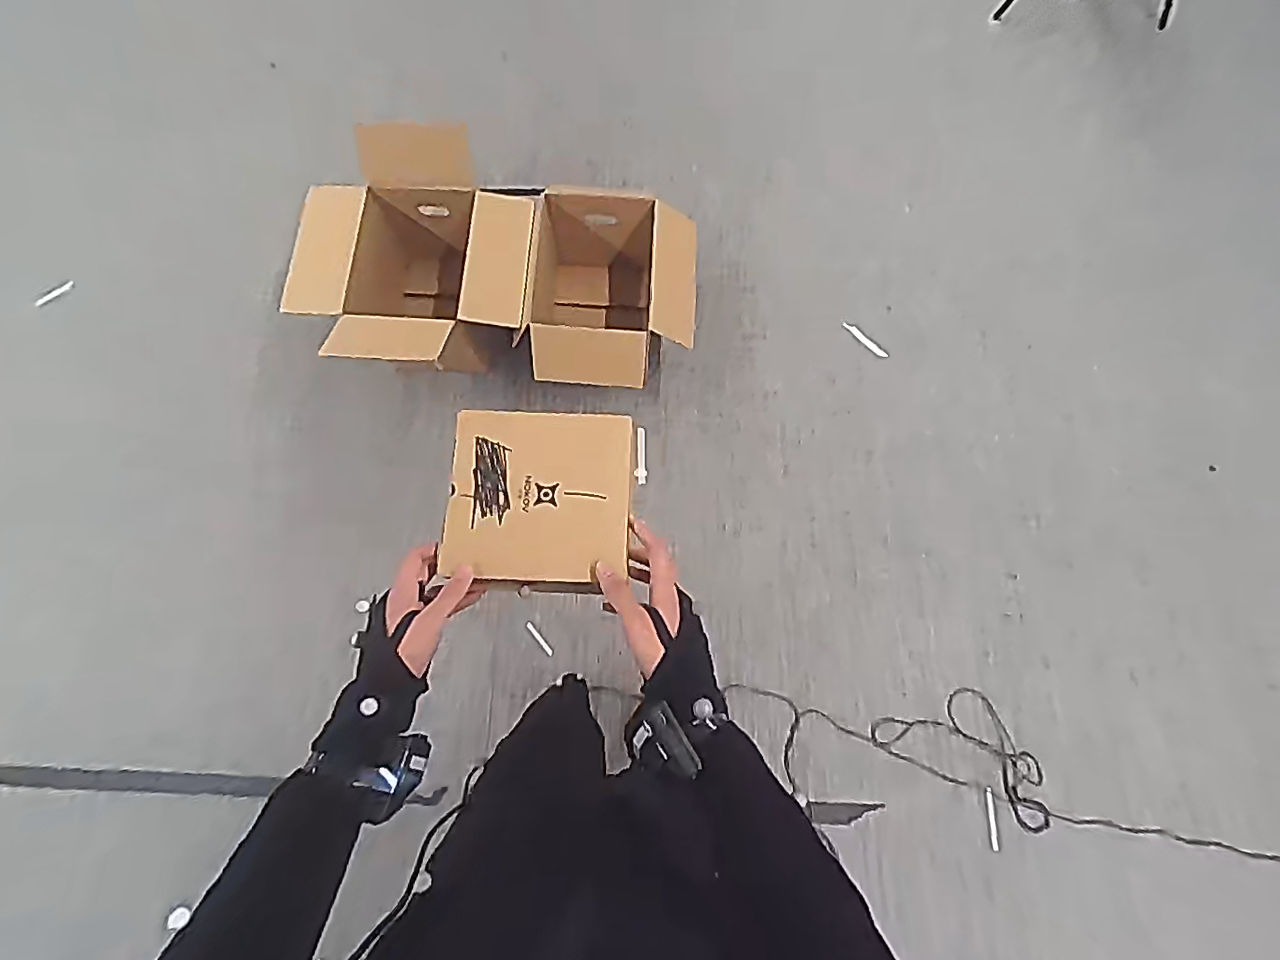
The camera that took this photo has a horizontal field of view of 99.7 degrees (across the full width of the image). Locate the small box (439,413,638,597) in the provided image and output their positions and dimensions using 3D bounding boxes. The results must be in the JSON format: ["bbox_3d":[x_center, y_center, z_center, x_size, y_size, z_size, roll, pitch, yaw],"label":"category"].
[{"bbox_3d":[-0.094,0.037,0.589,0.179,0.176,0.168,2,75,0],"label":"small box"}]
